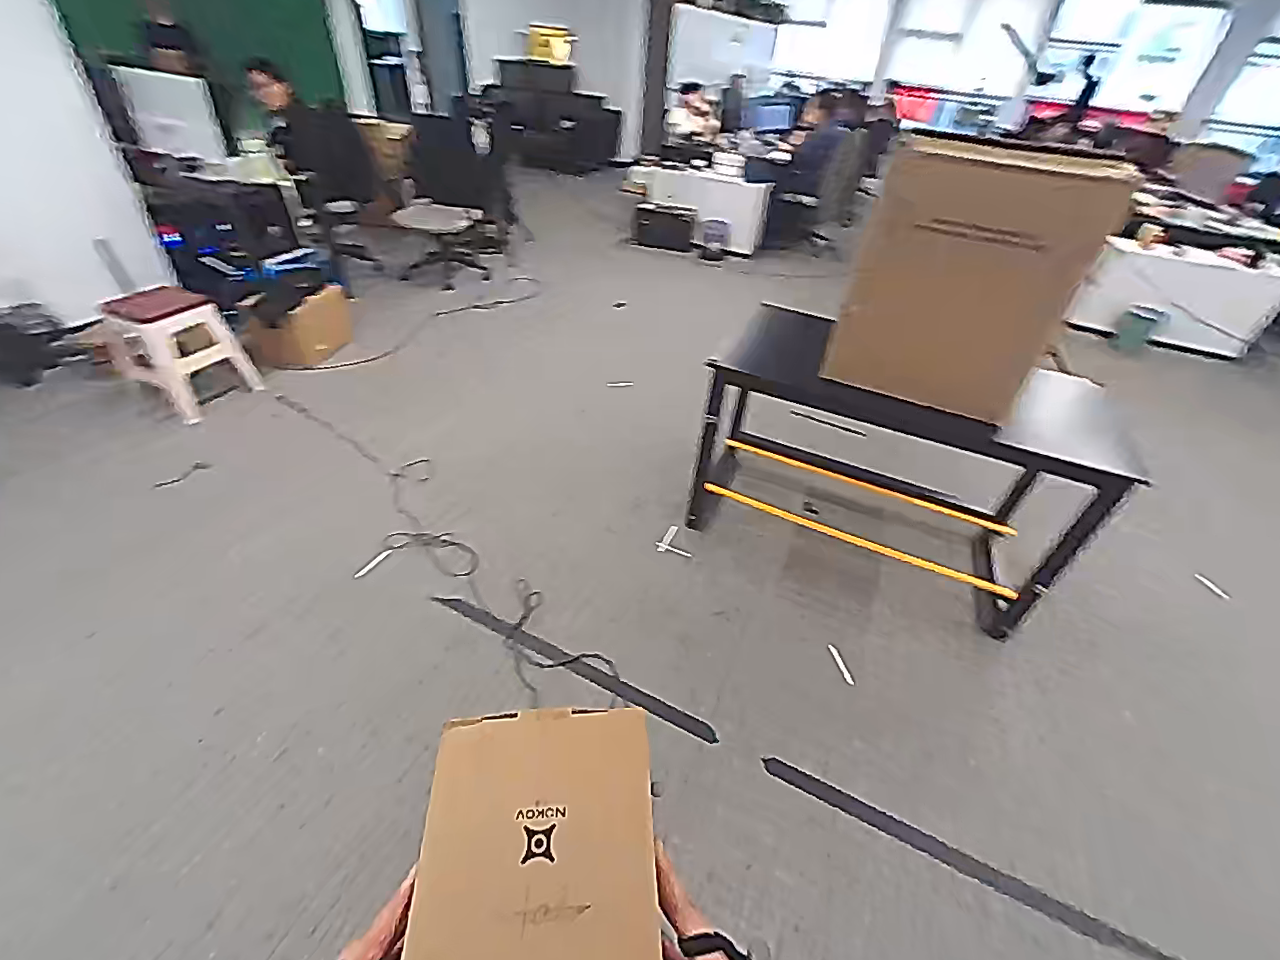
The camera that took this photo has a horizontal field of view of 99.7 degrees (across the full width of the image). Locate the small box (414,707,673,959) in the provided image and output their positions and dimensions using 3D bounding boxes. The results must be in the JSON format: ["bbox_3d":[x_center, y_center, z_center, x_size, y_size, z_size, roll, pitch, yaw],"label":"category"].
[{"bbox_3d":[-0.065,0.308,0.445,0.168,0.176,0.179,-2,47,-2],"label":"small box"}]
